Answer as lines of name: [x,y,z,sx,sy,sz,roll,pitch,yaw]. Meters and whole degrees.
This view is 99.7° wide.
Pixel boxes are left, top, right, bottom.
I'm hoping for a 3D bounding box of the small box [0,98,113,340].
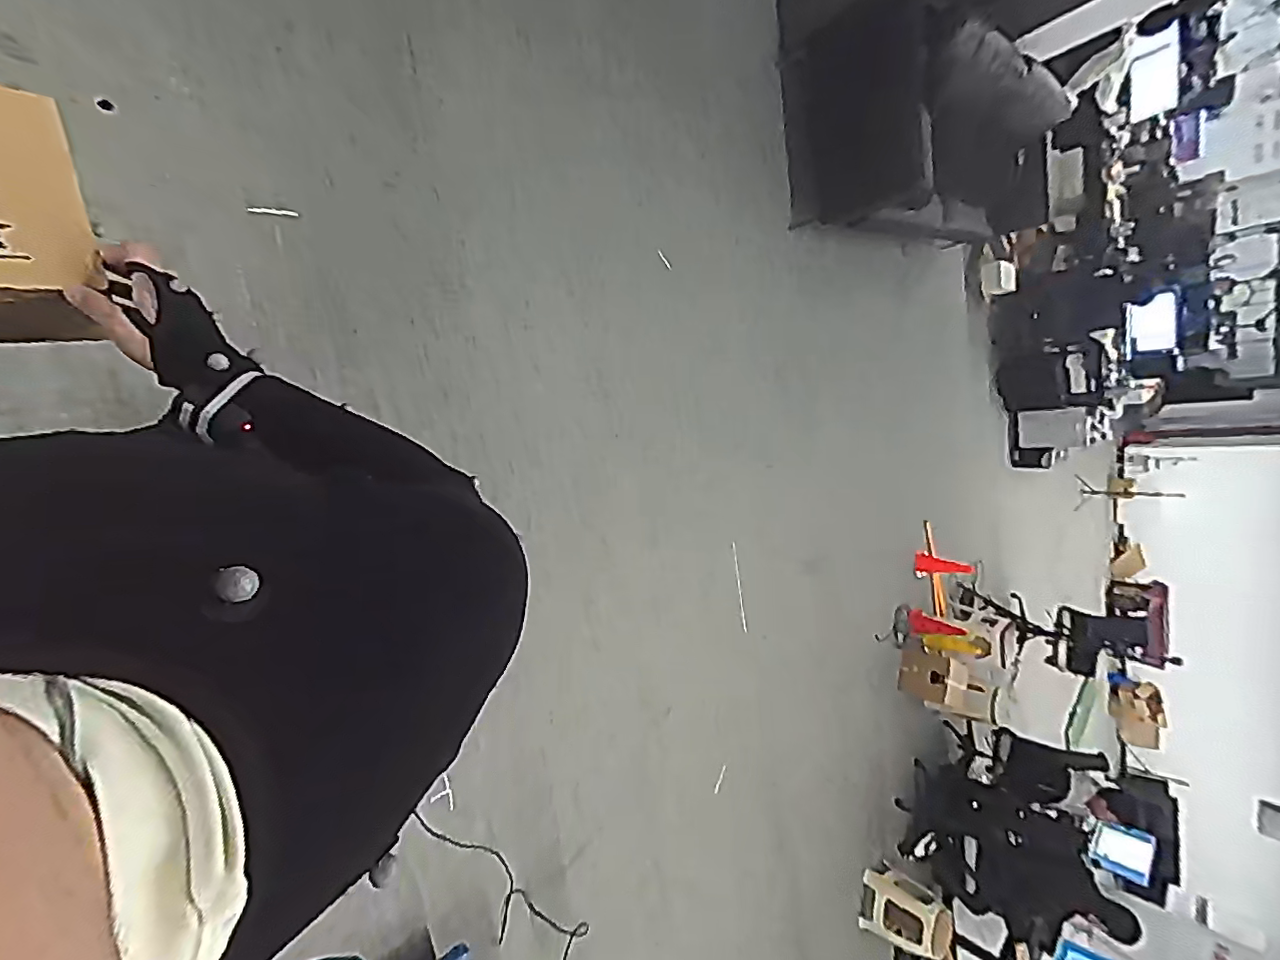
small box: [-0.625,-0.231,0.503,0.168,0.176,0.179,-19,99,-44]
